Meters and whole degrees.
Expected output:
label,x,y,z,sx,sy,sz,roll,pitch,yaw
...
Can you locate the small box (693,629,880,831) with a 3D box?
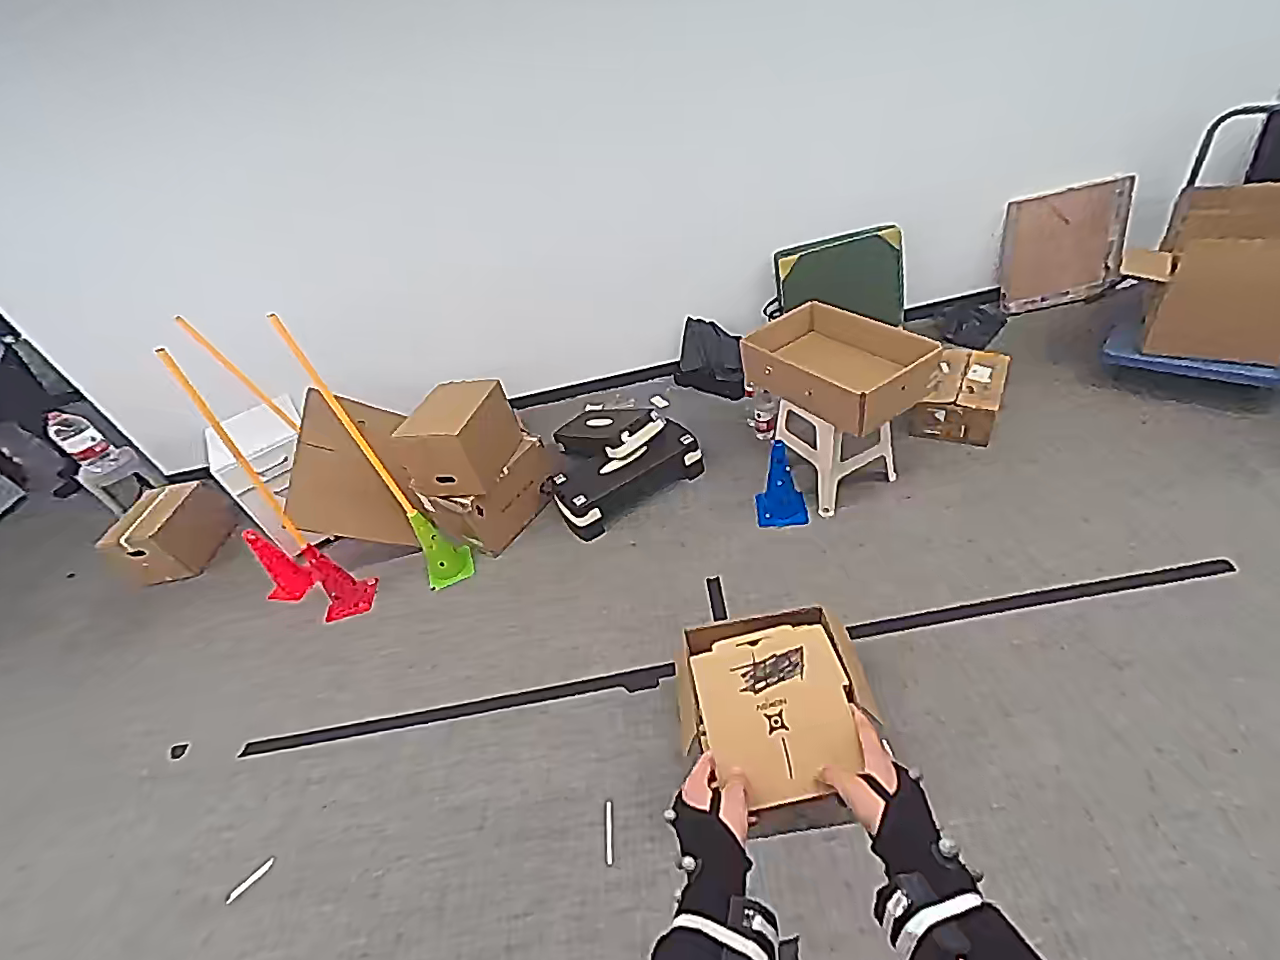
label,x,y,z,sx,sy,sz,roll,pitch,yaw
small box,0.175,0.314,0.671,0.168,0.176,0.179,-17,51,7
